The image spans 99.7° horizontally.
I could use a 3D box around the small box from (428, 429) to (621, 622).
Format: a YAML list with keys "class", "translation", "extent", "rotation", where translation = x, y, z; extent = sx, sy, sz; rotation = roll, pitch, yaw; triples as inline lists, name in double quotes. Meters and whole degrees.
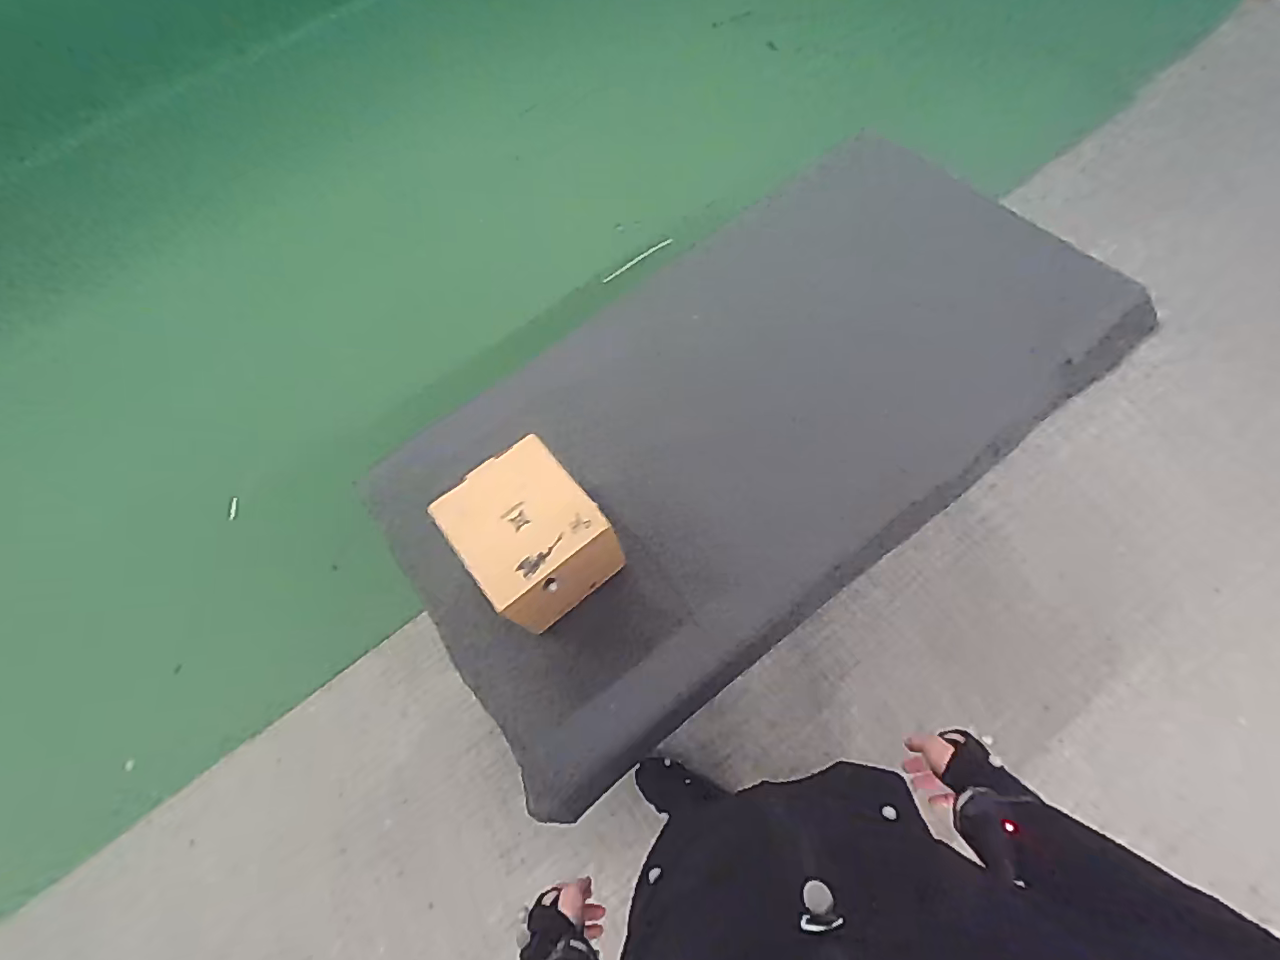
- class: "small box"
  translation: [-0.147, 0.070, 0.738]
  extent: [0.168, 0.176, 0.179]
  rotation: [-39, 68, -10]
